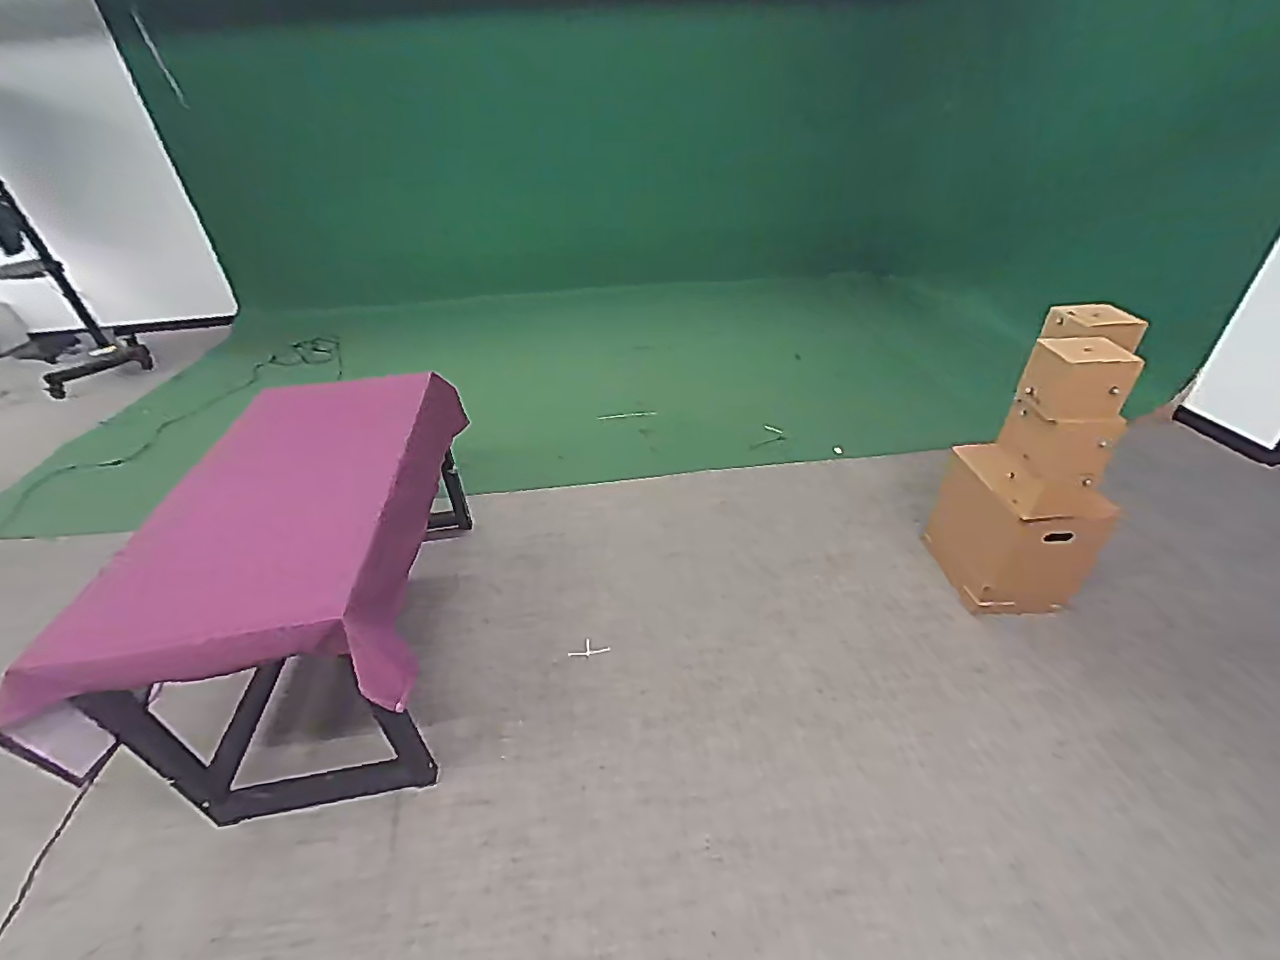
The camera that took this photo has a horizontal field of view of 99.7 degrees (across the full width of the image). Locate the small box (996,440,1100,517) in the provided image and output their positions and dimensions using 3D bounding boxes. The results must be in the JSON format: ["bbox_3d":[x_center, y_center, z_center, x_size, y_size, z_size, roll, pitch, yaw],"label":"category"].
[{"bbox_3d":[1.213,-0.003,1.629,0.179,0.176,0.168,-5,36,-1],"label":"small box"}]

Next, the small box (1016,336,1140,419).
[{"bbox_3d":[1.160,-0.274,1.449,0.179,0.176,0.168,-1,35,5],"label":"small box"}]

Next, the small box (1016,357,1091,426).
[{"bbox_3d":[1.341,-0.284,1.728,0.179,0.176,0.168,2,36,6],"label":"small box"}]

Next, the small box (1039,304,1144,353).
[{"bbox_3d":[1.340,-0.420,1.635,0.179,0.176,0.168,-2,35,1],"label":"small box"}]

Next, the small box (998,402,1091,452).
[{"bbox_3d":[1.347,-0.147,1.820,0.168,0.176,0.179,0,37,5],"label":"small box"}]
